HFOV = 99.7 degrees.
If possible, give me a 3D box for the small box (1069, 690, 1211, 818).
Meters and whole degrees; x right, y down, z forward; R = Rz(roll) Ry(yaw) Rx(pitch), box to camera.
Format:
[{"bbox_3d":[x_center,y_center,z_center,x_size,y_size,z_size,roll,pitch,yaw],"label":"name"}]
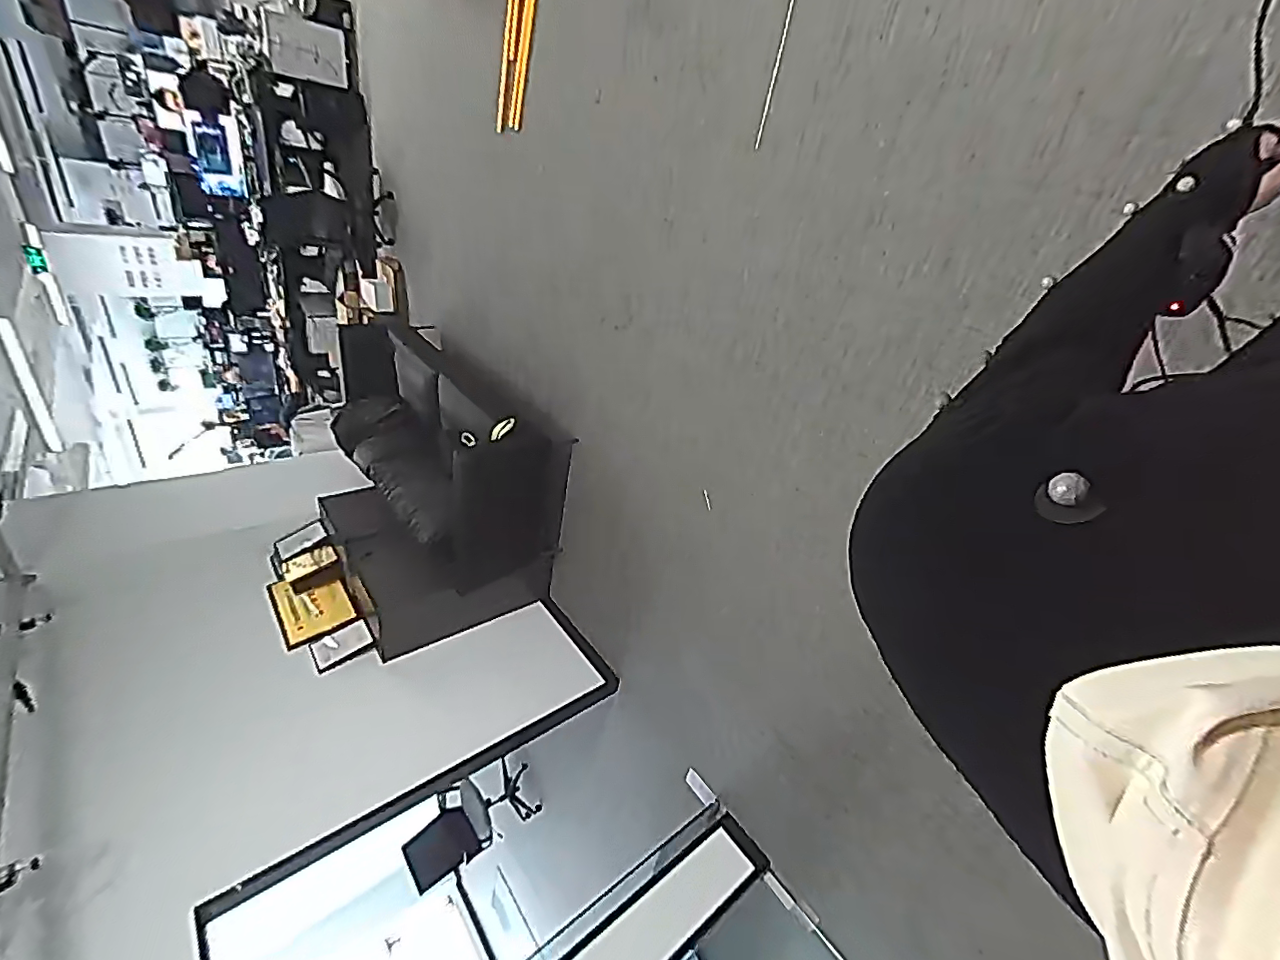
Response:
[{"bbox_3d":[1.160,0.627,1.252,0.168,0.176,0.179,43,134,35],"label":"small box"}]
